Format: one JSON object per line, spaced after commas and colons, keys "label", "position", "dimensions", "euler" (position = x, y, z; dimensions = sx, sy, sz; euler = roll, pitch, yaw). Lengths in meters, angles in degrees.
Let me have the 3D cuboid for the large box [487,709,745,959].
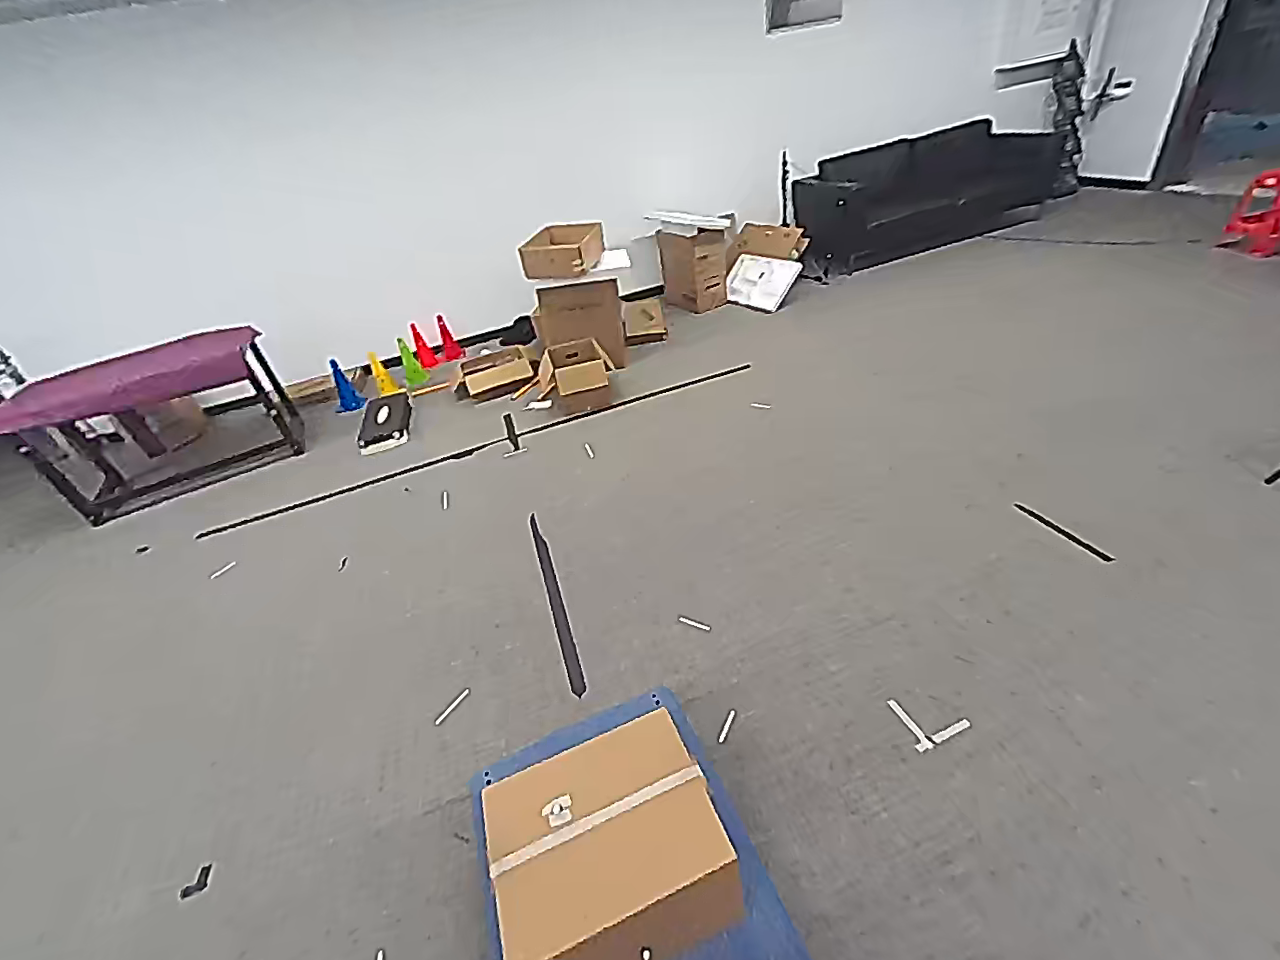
{"label": "large box", "position": [-0.045, 0.753, 1.089], "dimensions": [0.408, 0.320, 0.320], "euler": [-21, 35, -12]}
